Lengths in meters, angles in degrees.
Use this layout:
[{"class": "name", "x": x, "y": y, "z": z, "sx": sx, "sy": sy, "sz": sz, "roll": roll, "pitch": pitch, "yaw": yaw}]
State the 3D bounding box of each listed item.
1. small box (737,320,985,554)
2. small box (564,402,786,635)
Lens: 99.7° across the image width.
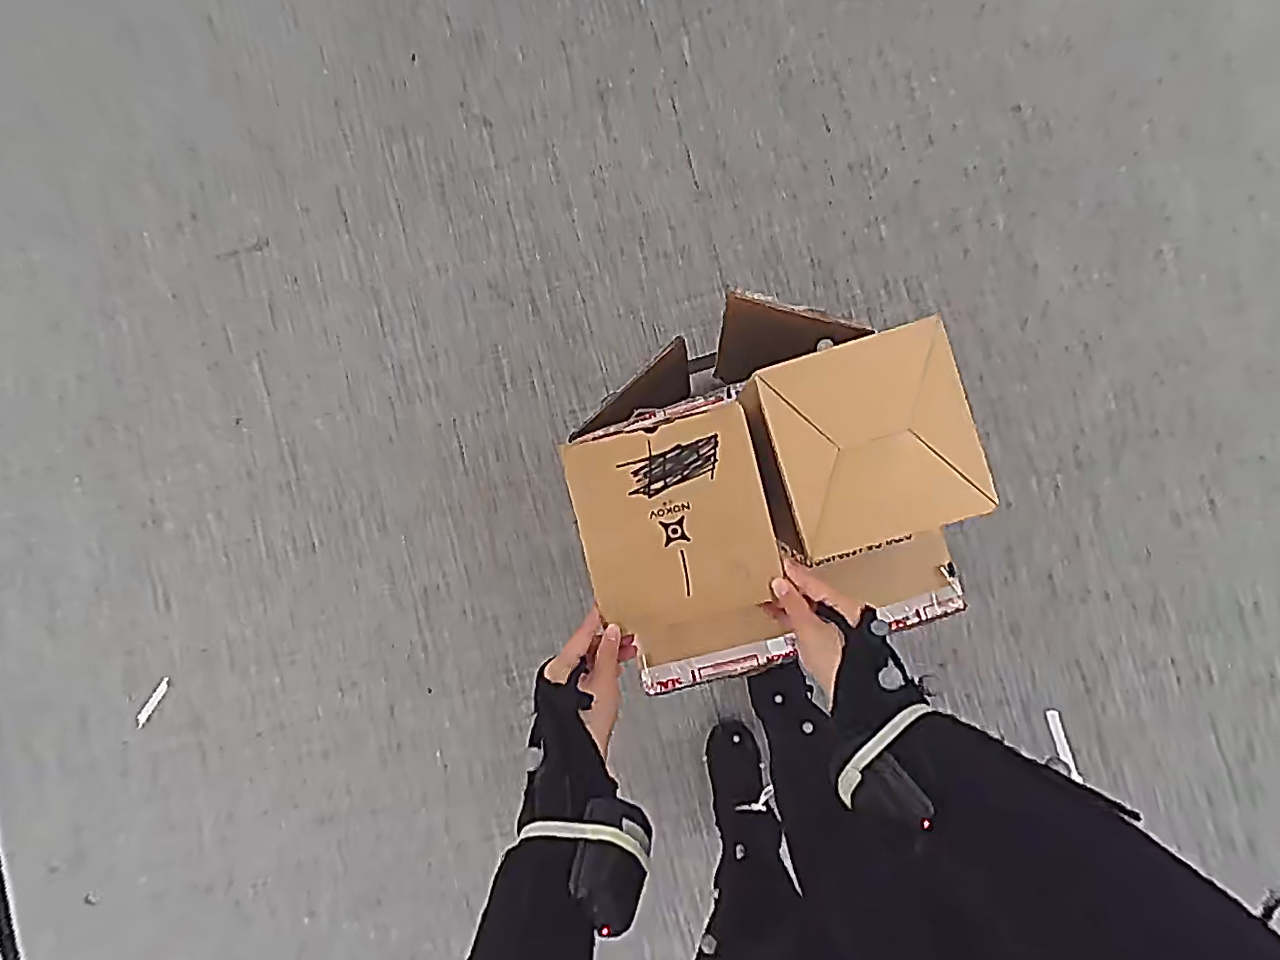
[{"class": "small box", "x": 0.206, "y": -0.034, "z": 0.544, "sx": 0.168, "sy": 0.176, "sz": 0.179, "roll": -17, "pitch": 89, "yaw": 3}, {"class": "small box", "x": 0.031, "y": 0.034, "z": 0.549, "sx": 0.168, "sy": 0.176, "sz": 0.179, "roll": -14, "pitch": 90, "yaw": 2}]
